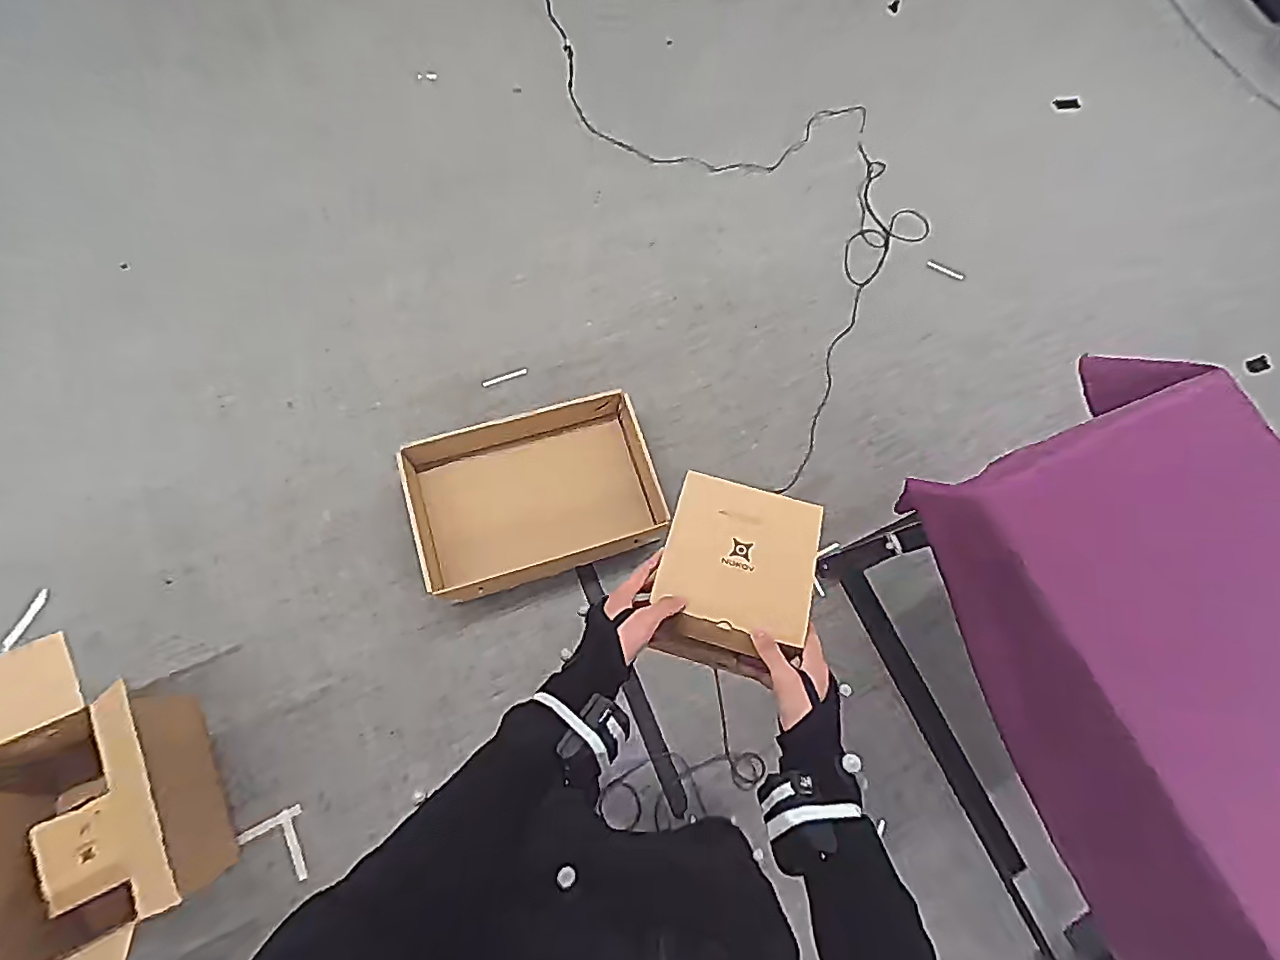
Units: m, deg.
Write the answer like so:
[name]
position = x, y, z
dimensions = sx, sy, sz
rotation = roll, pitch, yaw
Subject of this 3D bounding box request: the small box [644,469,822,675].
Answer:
[small box]
position = 0.105, 0.119, 0.661
dimensions = 0.168, 0.176, 0.179
rotation = 16, 59, 6
